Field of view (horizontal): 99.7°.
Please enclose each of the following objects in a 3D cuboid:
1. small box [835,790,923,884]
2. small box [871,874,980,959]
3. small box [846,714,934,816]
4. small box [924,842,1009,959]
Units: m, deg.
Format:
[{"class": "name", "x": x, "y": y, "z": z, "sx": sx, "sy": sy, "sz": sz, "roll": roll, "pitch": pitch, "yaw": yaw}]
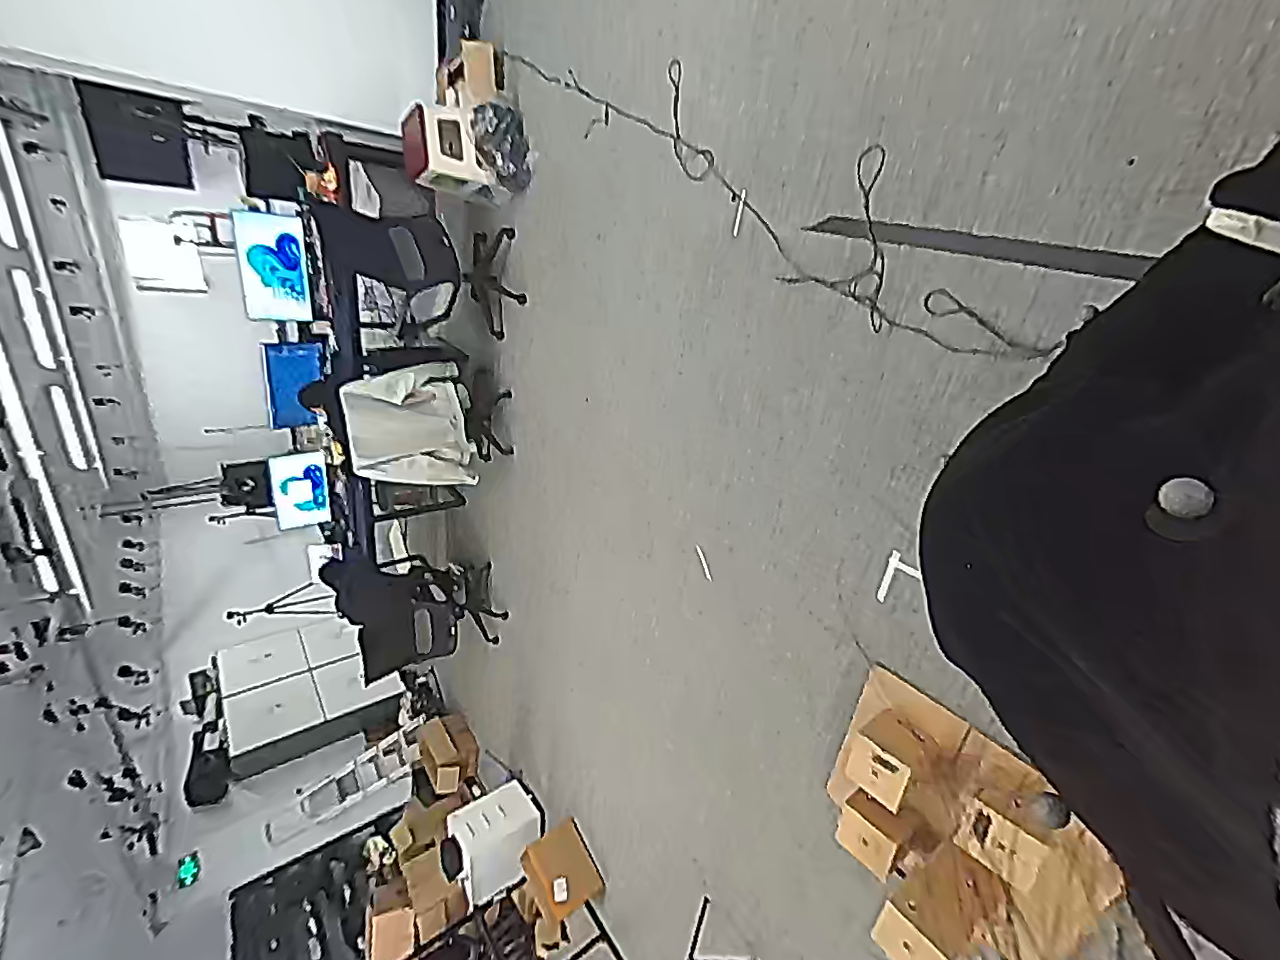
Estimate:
[{"class": "small box", "x": 0.744, "y": 1.088, "z": 1.686, "sx": 0.179, "sy": 0.176, "sz": 0.168, "roll": 26, "pitch": 120, "yaw": 45}, {"class": "small box", "x": 0.752, "y": 1.191, "z": 1.428, "sx": 0.179, "sy": 0.176, "sz": 0.168, "roll": 31, "pitch": 124, "yaw": 43}, {"class": "small box", "x": 0.748, "y": 0.837, "z": 1.611, "sx": 0.168, "sy": 0.176, "sz": 0.179, "roll": 28, "pitch": 120, "yaw": 45}, {"class": "small box", "x": 0.895, "y": 1.174, "z": 1.513, "sx": 0.179, "sy": 0.176, "sz": 0.168, "roll": 26, "pitch": 119, "yaw": 44}]
